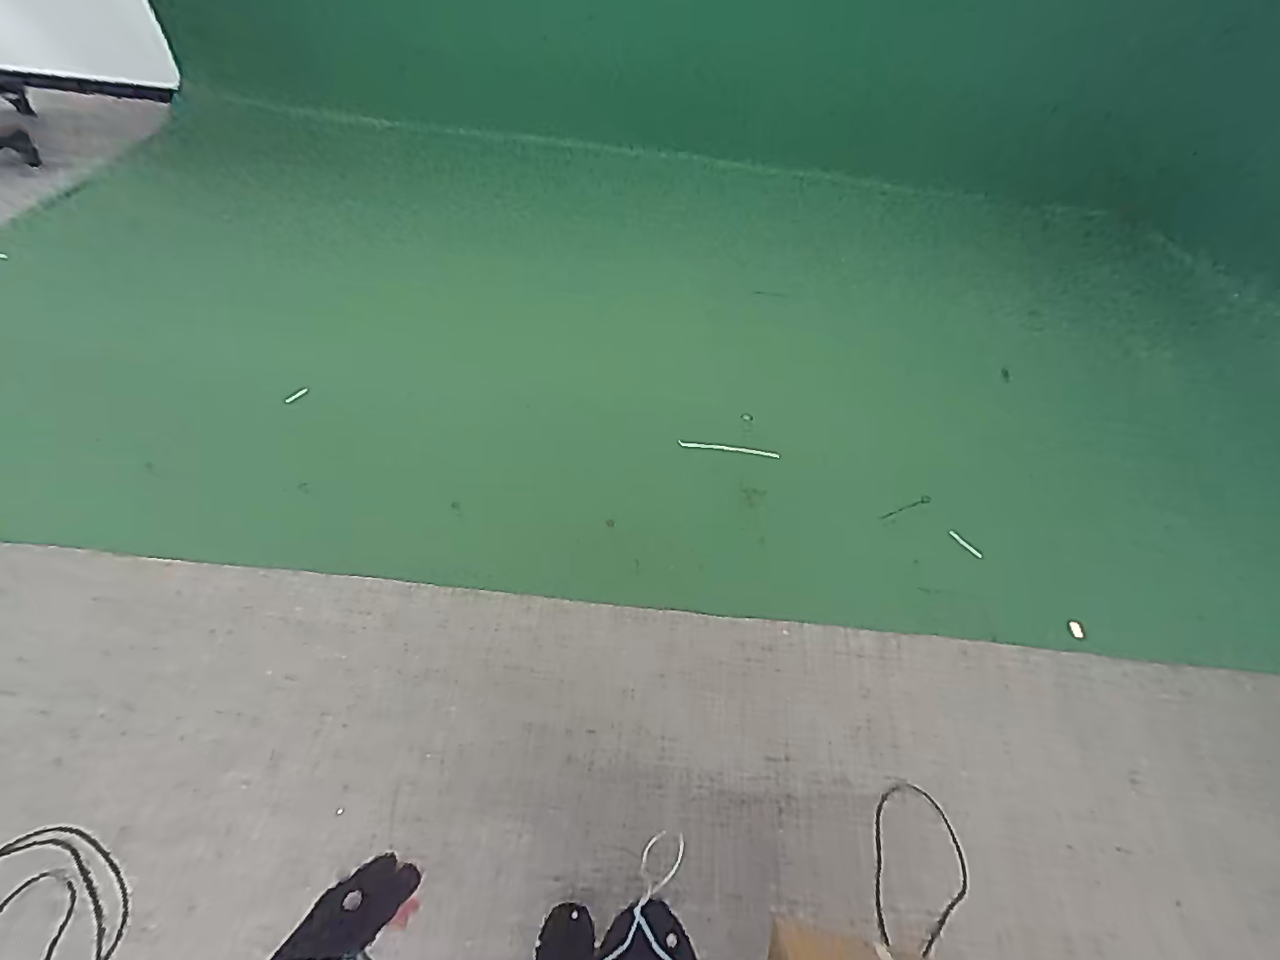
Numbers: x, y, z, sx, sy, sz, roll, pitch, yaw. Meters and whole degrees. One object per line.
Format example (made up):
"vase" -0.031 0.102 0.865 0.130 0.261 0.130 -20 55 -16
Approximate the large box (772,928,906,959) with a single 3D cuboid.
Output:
"large box" 0.316 0.831 0.601 0.320 0.408 0.320 14 81 5
